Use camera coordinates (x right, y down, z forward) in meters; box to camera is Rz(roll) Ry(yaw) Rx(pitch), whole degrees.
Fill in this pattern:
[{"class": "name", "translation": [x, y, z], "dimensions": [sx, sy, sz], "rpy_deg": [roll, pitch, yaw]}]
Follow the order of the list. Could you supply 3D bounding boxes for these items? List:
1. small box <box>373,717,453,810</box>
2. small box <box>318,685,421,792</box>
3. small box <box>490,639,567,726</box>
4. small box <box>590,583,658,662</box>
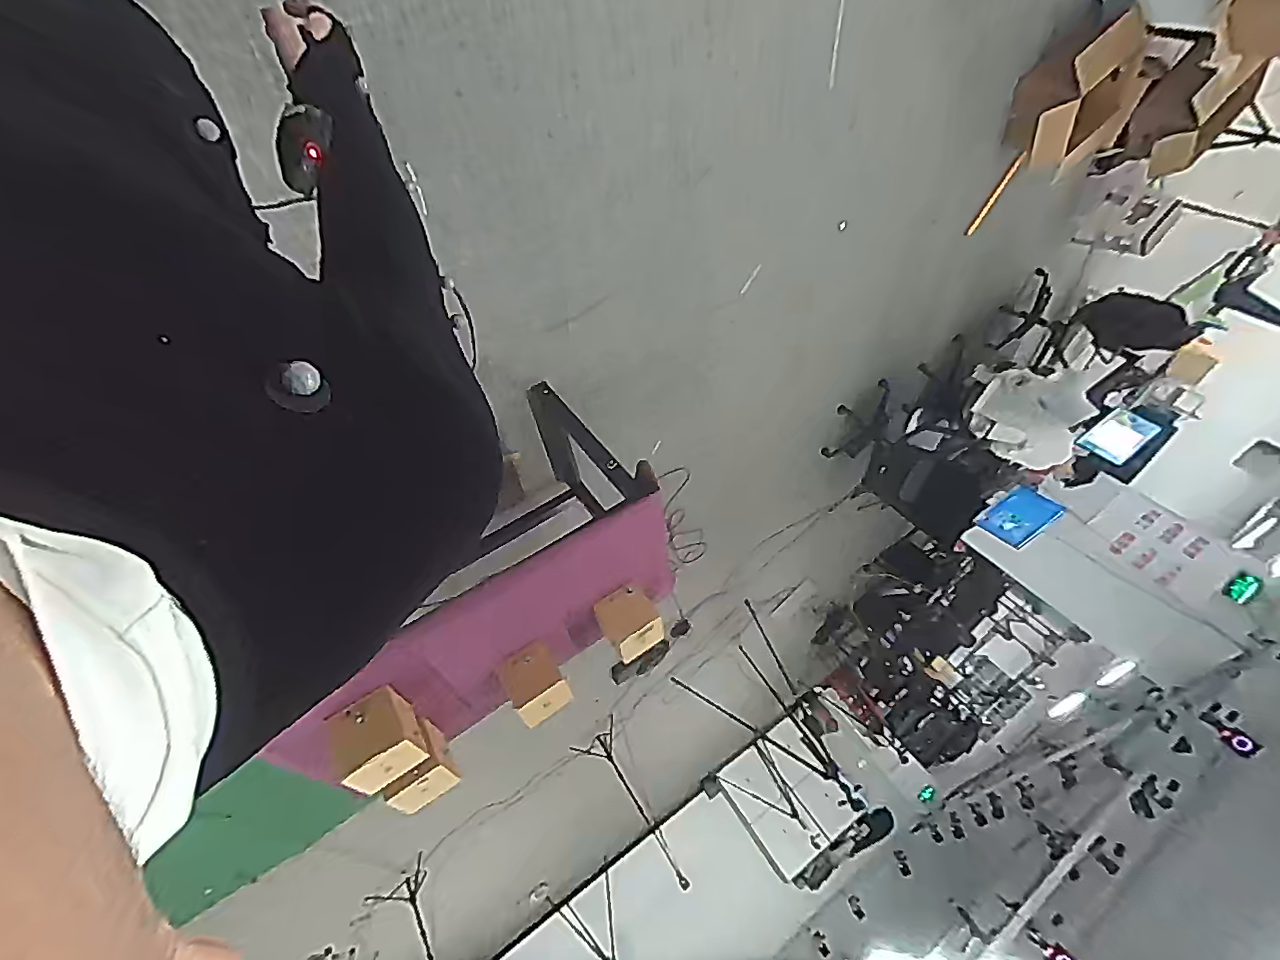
[{"class": "small box", "translation": [-0.685, 0.834, 1.599], "dimensions": [0.168, 0.176, 0.179], "rpy_deg": [-30, 143, -19]}, {"class": "small box", "translation": [-0.698, 0.664, 1.399], "dimensions": [0.168, 0.176, 0.179], "rpy_deg": [-29, 145, -20]}, {"class": "small box", "translation": [-0.354, 0.638, 1.718], "dimensions": [0.168, 0.176, 0.179], "rpy_deg": [-29, 143, -19]}, {"class": "small box", "translation": [-0.055, 0.475, 1.832], "dimensions": [0.168, 0.176, 0.179], "rpy_deg": [-29, 144, -17]}]
